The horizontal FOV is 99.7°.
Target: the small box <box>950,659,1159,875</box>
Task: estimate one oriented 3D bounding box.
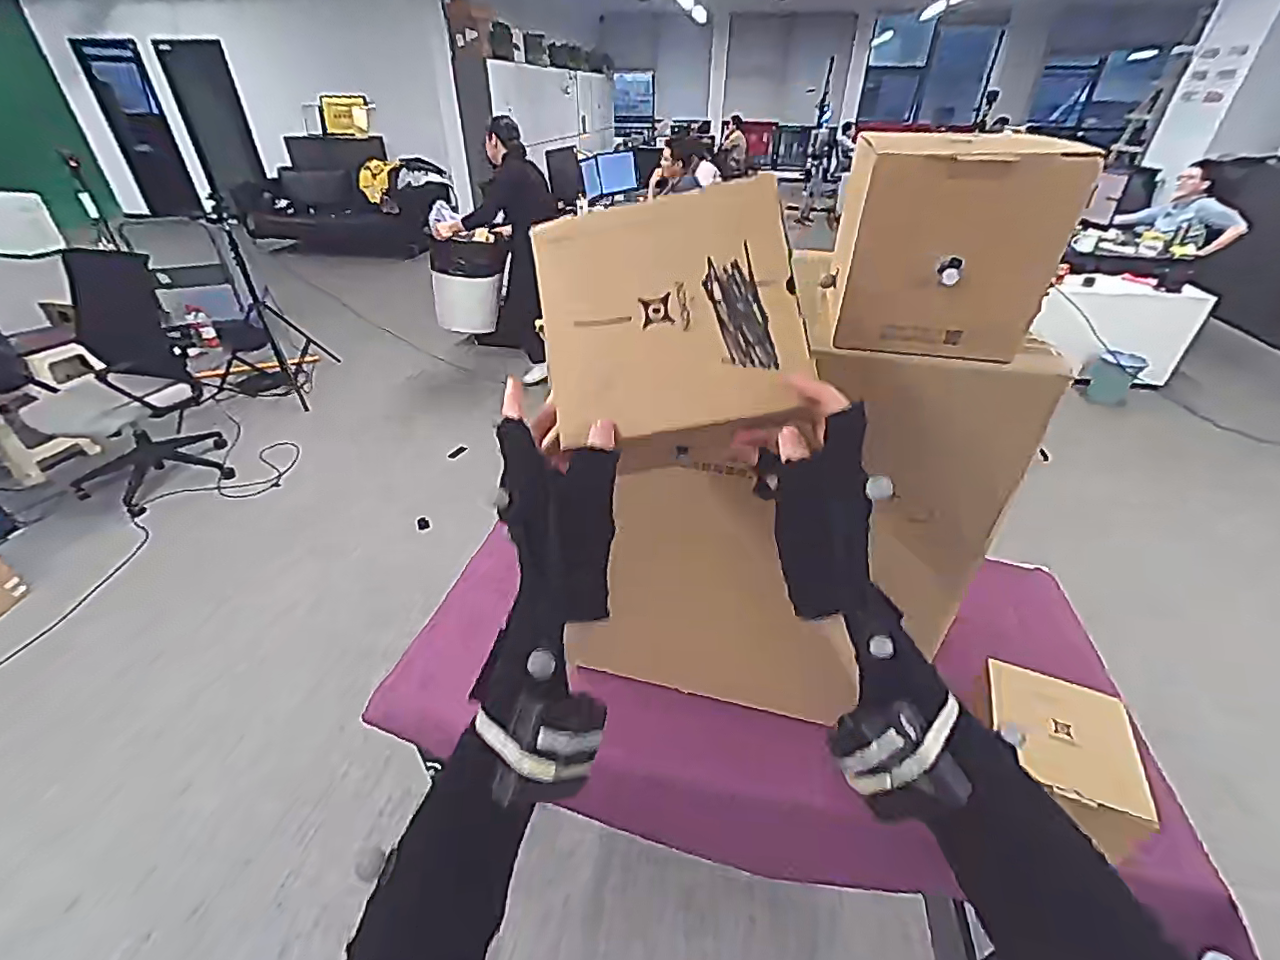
[{"bbox_3d":[0.541,0.388,0.737,0.168,0.176,0.179,15,36,19],"label":"small box"}]

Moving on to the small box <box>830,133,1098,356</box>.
[{"bbox_3d":[0.289,-0.235,0.535,0.168,0.176,0.179,8,38,11],"label":"small box"}]
